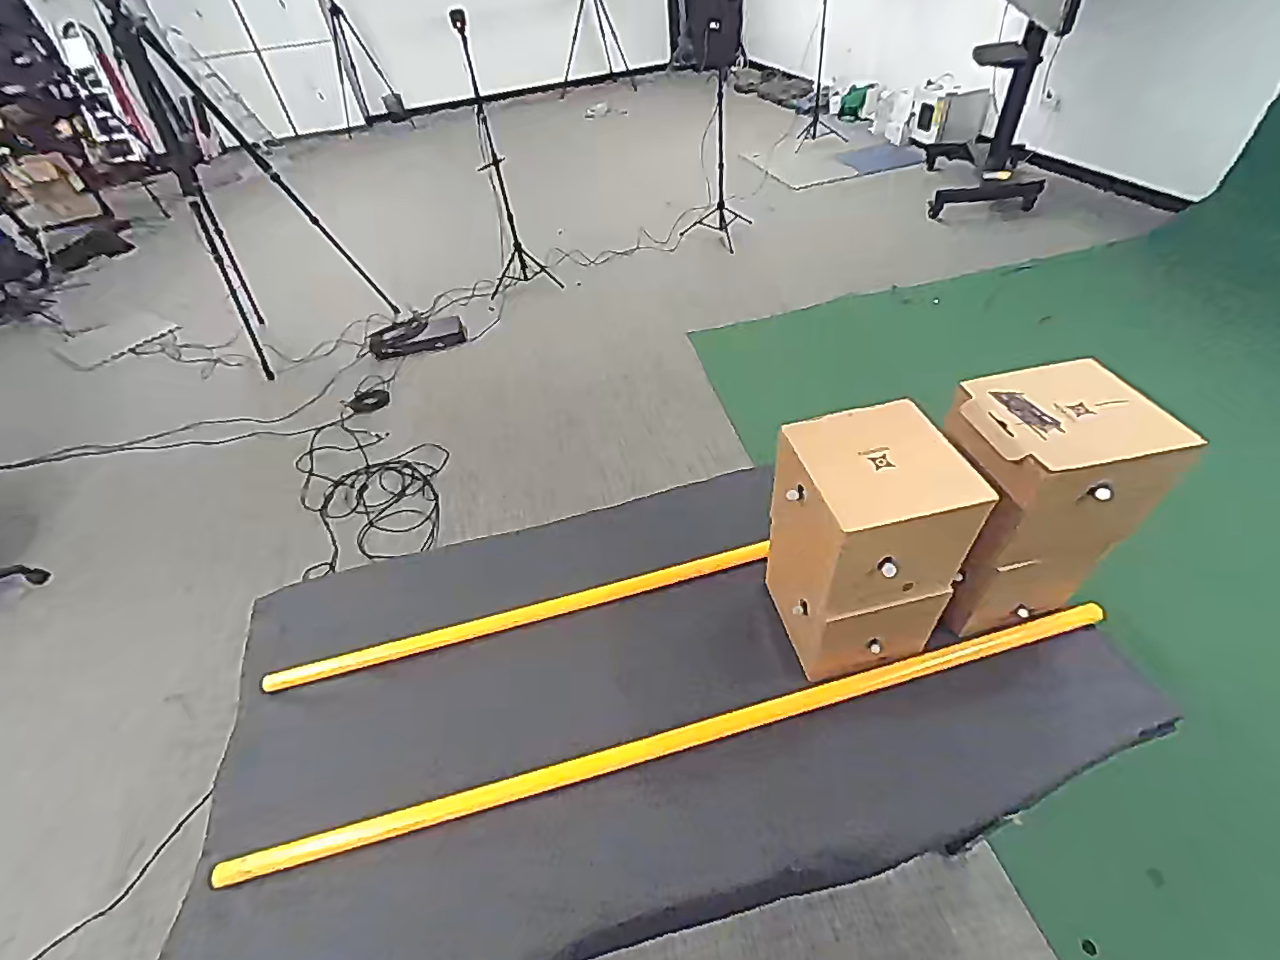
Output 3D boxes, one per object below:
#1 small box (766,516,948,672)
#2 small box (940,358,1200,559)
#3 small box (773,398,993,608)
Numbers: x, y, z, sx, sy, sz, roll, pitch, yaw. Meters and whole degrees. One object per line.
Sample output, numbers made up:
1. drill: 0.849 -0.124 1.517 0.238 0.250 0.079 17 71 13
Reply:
1. small box: 0.286 0.149 0.758 0.168 0.176 0.179 -12 45 -4
2. small box: 0.489 -0.022 0.663 0.179 0.176 0.168 -10 46 -3
3. small box: 0.268 0.033 0.646 0.168 0.176 0.179 -13 45 -3
